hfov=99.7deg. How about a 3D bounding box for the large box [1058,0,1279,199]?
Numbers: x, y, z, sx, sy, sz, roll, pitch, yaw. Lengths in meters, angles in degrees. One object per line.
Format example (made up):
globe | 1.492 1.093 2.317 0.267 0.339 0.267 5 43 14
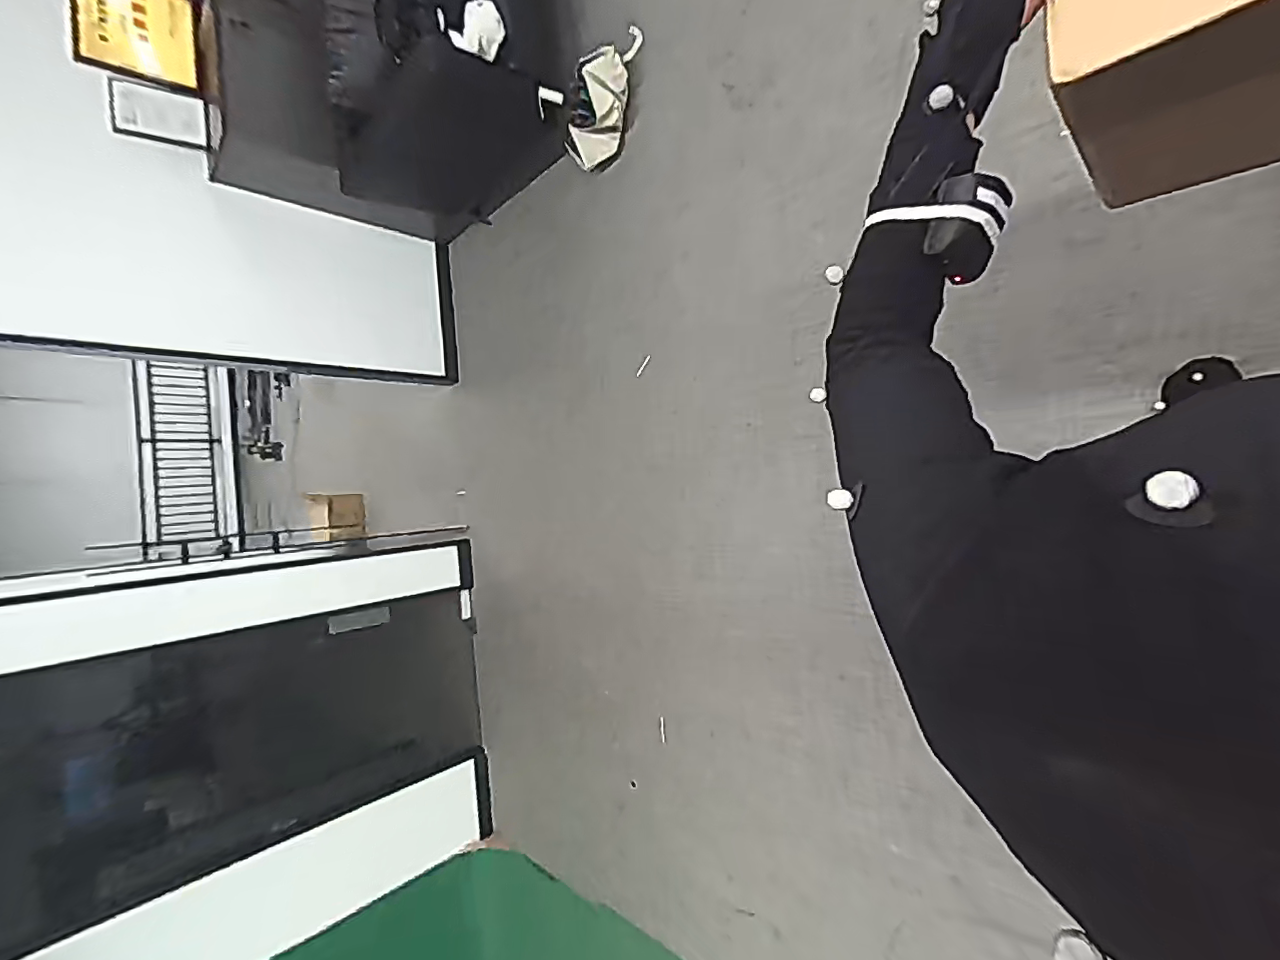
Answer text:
large box | 0.541 -0.457 0.354 0.408 0.320 0.320 -2 92 46
